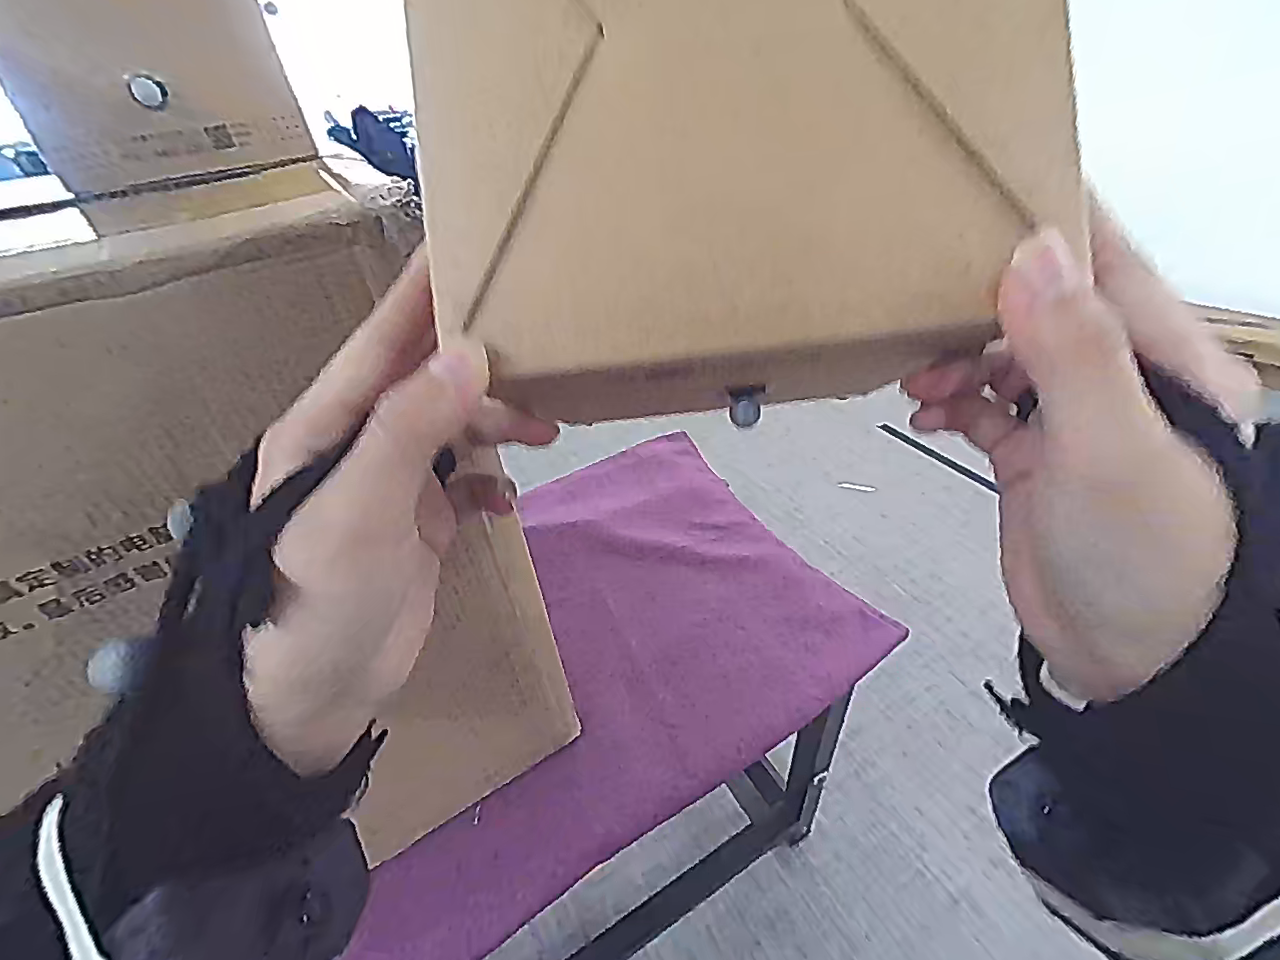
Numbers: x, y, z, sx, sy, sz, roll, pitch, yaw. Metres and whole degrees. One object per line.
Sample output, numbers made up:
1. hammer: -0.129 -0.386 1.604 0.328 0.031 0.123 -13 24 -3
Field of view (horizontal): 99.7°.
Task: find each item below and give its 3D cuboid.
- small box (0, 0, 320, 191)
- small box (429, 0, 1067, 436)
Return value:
1. small box: -0.370 -0.330 0.410 0.168 0.176 0.179 -24 42 -20
2. small box: 0.029 -0.118 0.221 0.168 0.179 0.176 -6 1 4
